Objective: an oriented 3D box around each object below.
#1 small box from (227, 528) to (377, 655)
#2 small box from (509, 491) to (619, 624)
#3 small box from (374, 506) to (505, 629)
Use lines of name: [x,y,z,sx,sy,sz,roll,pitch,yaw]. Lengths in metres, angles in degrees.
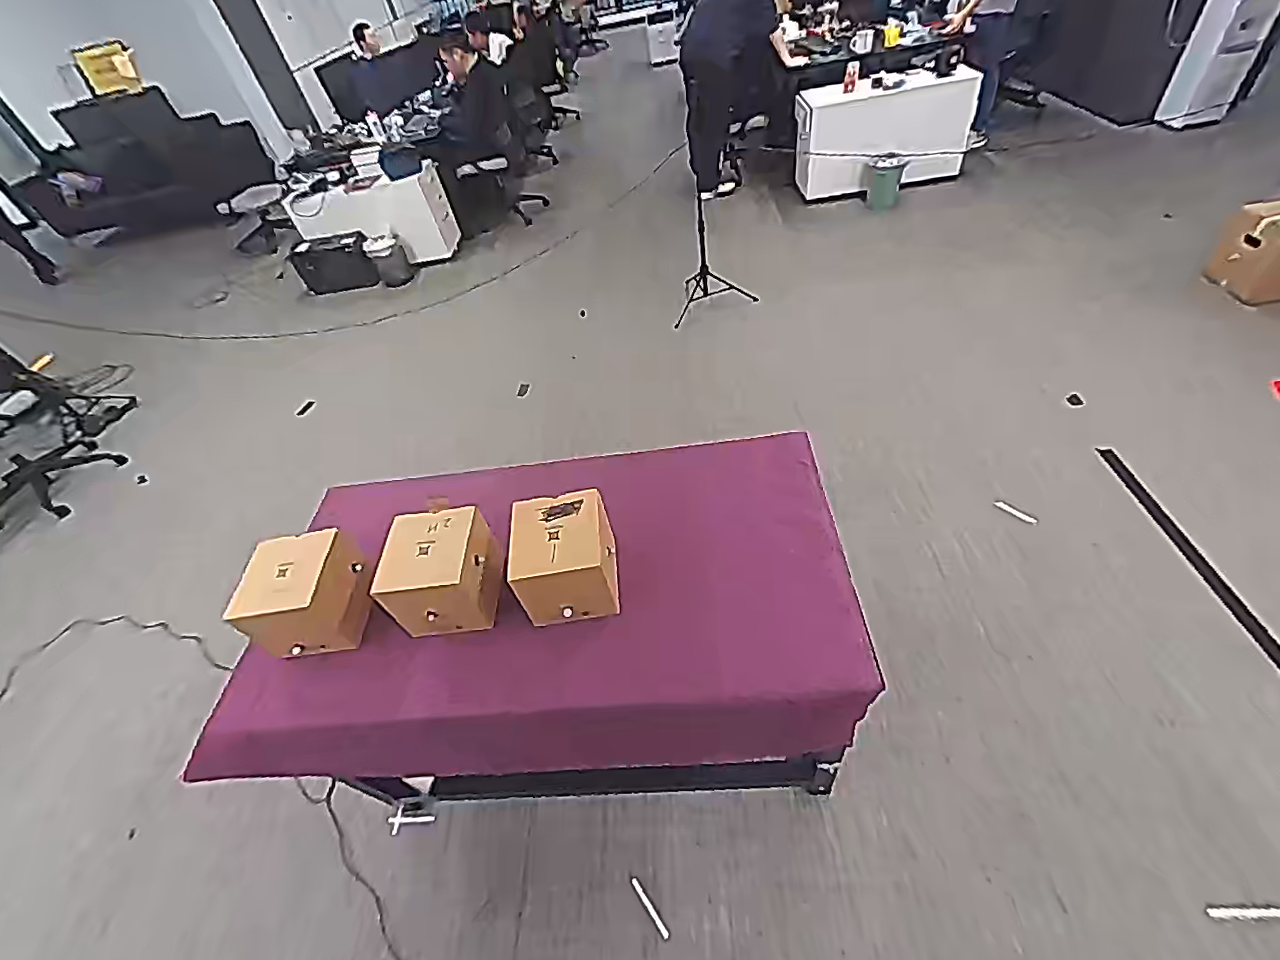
small box: [-0.647,0.221,1.069,0.168,0.176,0.179,-9,46,4]
small box: [-0.137,0.148,1.030,0.168,0.176,0.179,-10,47,3]
small box: [-0.376,0.177,1.052,0.168,0.176,0.179,-7,46,5]
